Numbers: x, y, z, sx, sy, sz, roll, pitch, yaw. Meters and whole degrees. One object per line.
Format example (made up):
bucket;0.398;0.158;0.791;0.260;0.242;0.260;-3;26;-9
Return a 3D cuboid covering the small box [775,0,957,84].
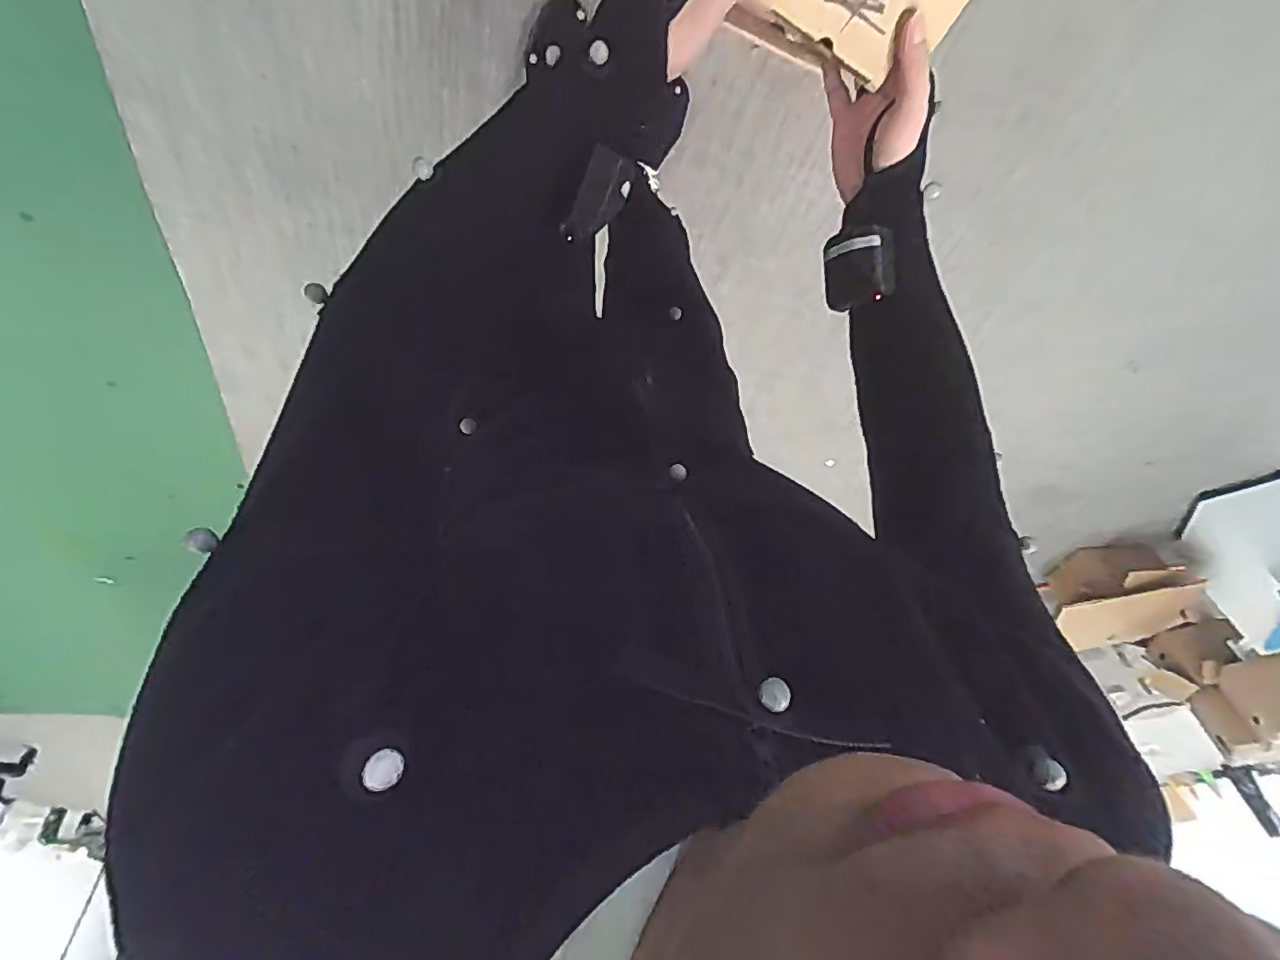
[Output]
small box;0.160;-0.444;0.387;0.168;0.176;0.179;10;139;-28
